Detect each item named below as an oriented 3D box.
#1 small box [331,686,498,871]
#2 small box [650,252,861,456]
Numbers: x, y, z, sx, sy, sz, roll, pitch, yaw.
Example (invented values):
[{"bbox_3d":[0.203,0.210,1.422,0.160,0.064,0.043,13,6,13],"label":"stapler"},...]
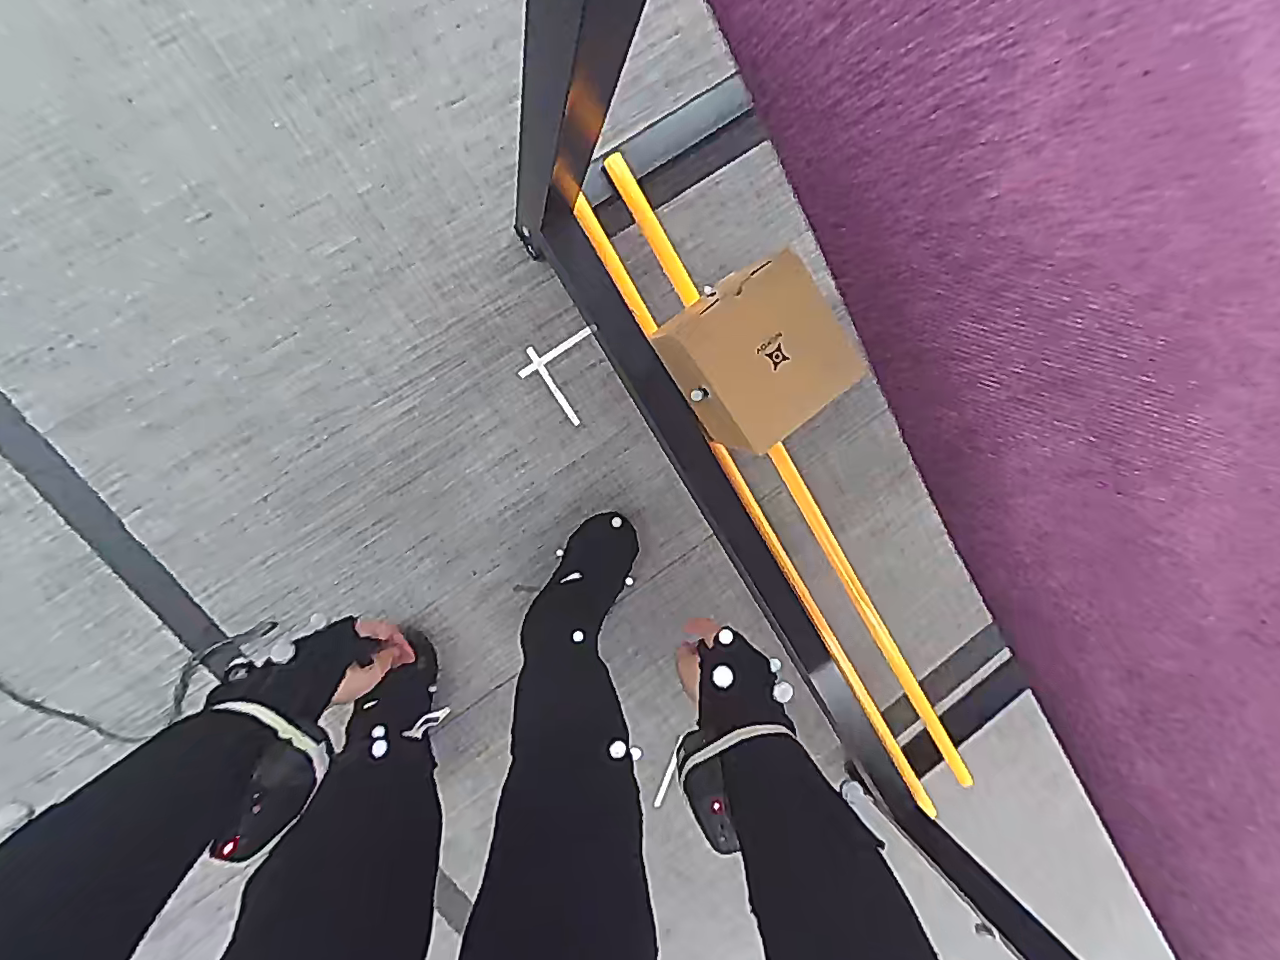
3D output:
[{"bbox_3d":[-0.308,0.405,0.750,0.179,0.176,0.168,16,85,-18],"label":"small box"},{"bbox_3d":[0.137,-0.155,0.694,0.168,0.176,0.179,-38,104,-4],"label":"small box"}]
